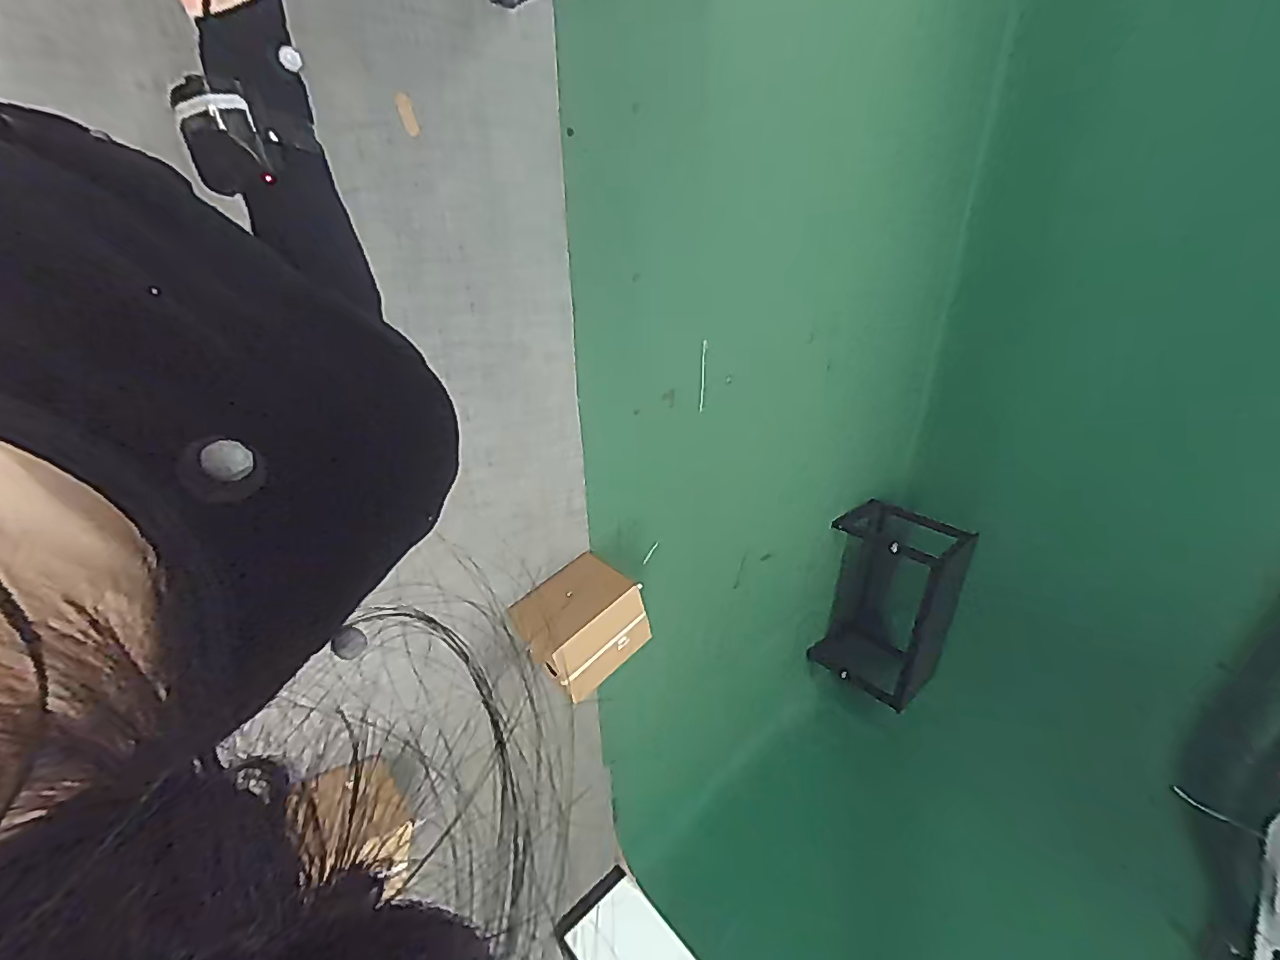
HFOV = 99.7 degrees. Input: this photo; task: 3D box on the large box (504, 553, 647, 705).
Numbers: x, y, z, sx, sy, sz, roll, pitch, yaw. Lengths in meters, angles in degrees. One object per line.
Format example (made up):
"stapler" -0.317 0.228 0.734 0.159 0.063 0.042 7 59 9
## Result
"large box" -0.241 0.556 2.079 0.408 0.320 0.320 -36 131 -29
